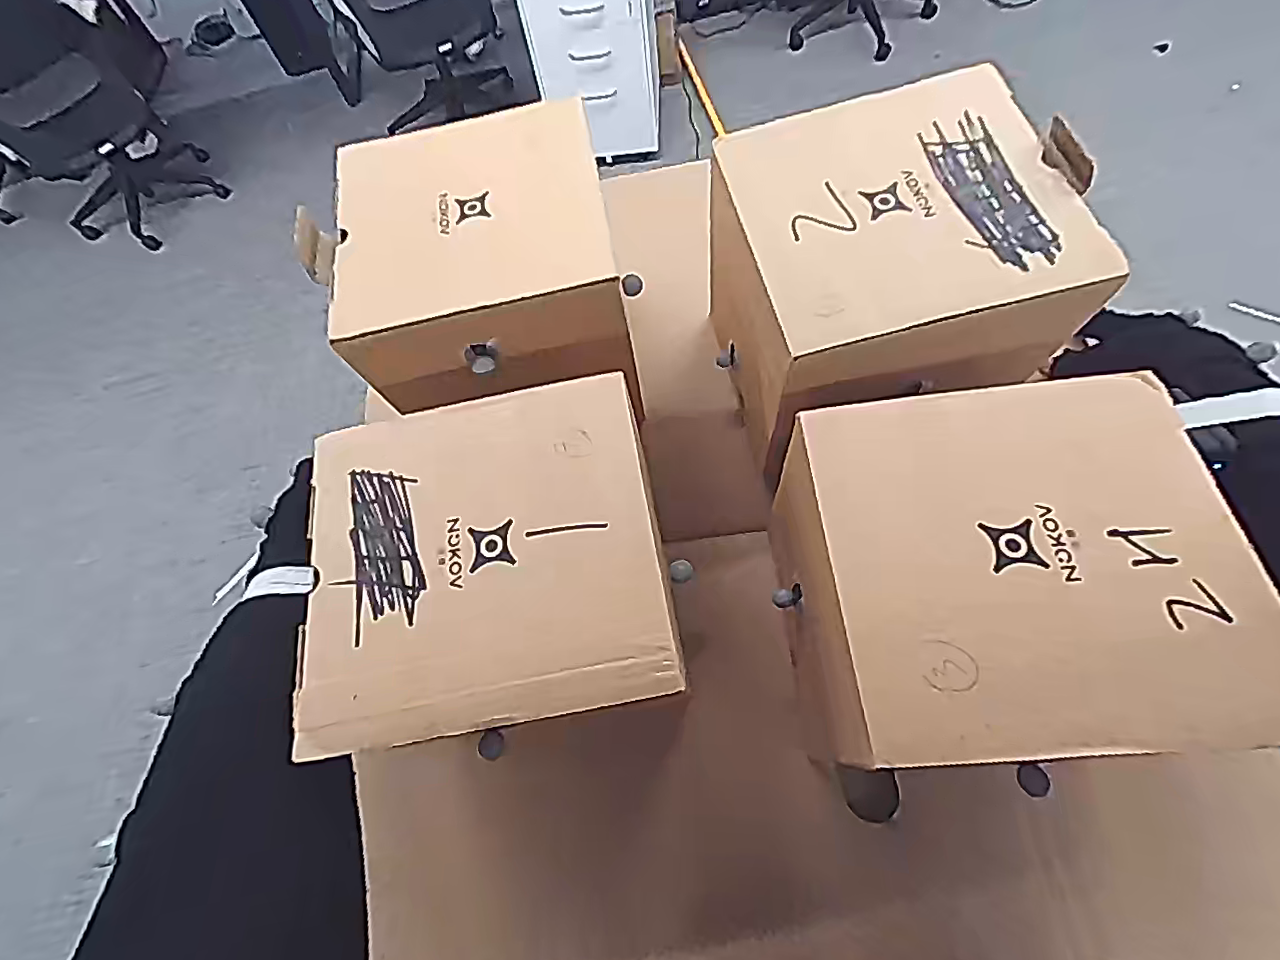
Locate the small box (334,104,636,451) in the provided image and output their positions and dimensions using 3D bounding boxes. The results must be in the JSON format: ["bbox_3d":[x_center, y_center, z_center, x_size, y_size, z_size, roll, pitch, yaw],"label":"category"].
[{"bbox_3d":[-0.103,-0.142,0.424,0.179,0.176,0.168,-12,67,3],"label":"small box"}]
